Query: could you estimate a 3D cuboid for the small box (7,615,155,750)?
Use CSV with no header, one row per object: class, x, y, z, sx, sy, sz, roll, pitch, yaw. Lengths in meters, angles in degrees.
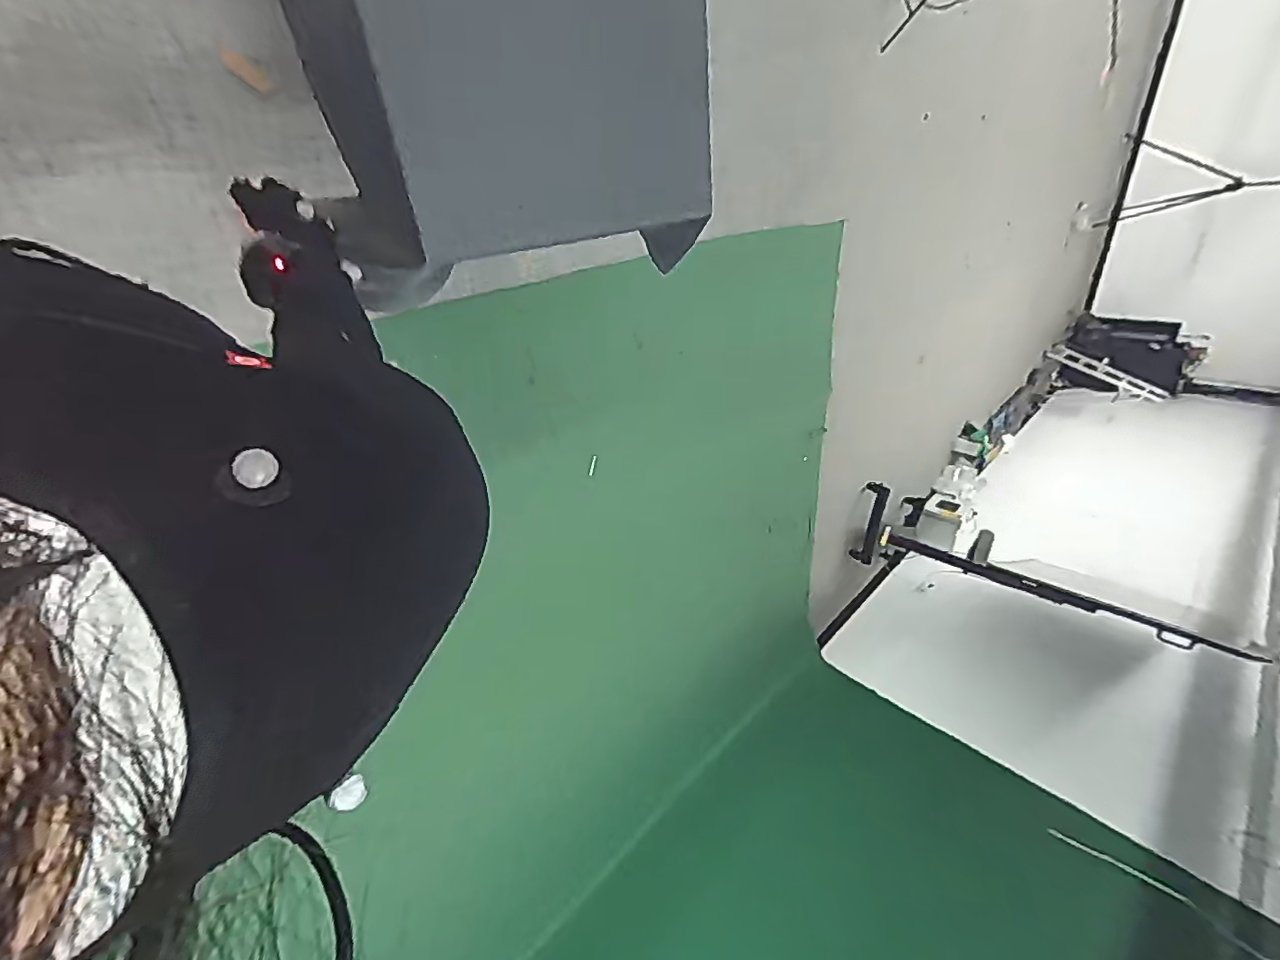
small box,-1.157,0.407,1.128,0.168,0.176,0.179,-24,123,-37
